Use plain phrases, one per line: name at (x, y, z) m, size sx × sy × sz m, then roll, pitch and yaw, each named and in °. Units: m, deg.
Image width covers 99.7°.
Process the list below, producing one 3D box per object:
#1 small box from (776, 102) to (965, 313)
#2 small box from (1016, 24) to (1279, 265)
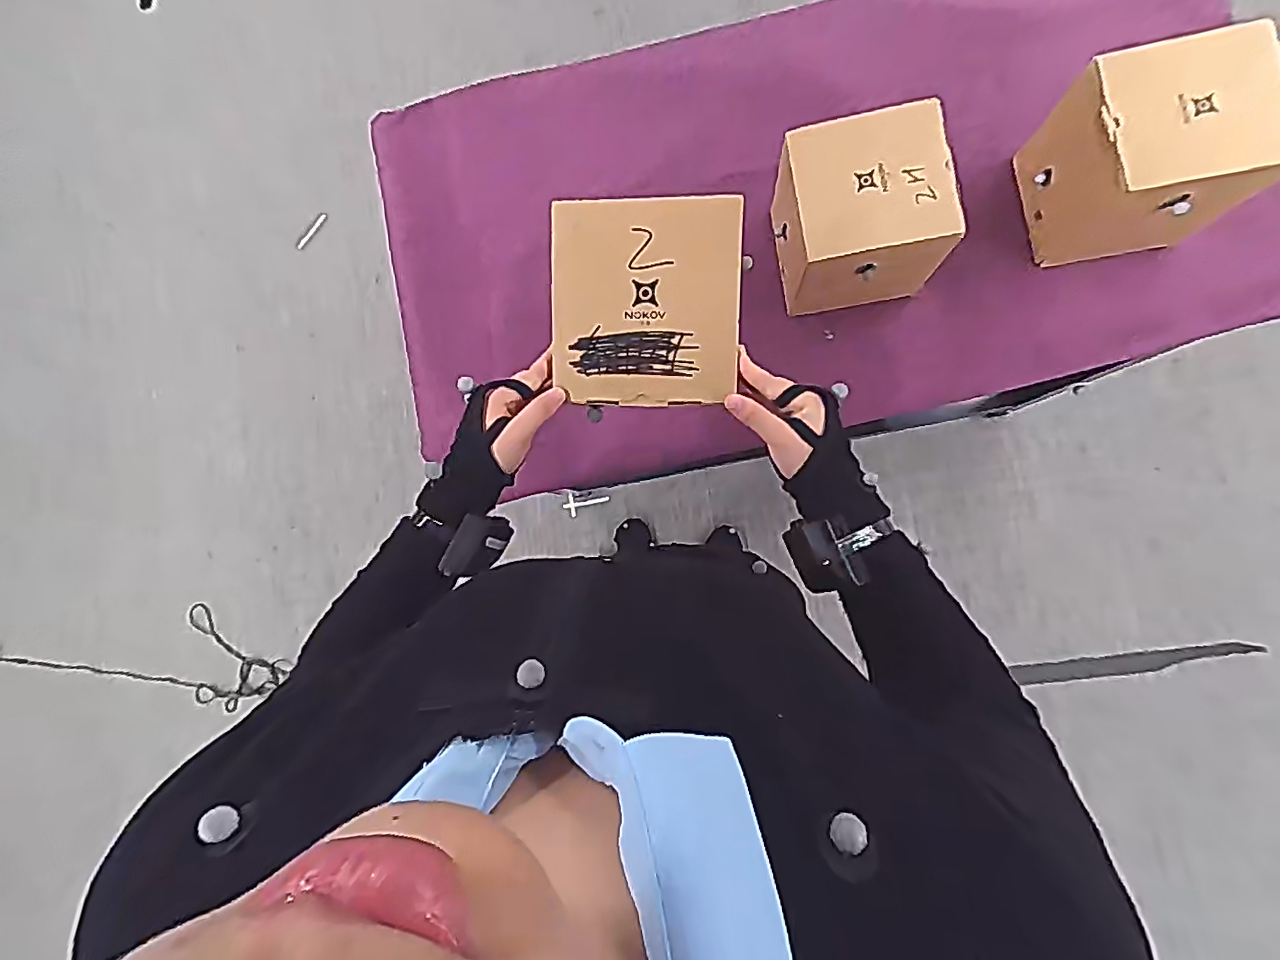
small box at (0.276, -0.331, 0.694) m, size 0.179 × 0.176 × 0.168 m, roll -8°, pitch 84°, yaw 7°
small box at (0.605, -0.387, 0.655) m, size 0.179 × 0.176 × 0.168 m, roll -8°, pitch 83°, yaw 8°
